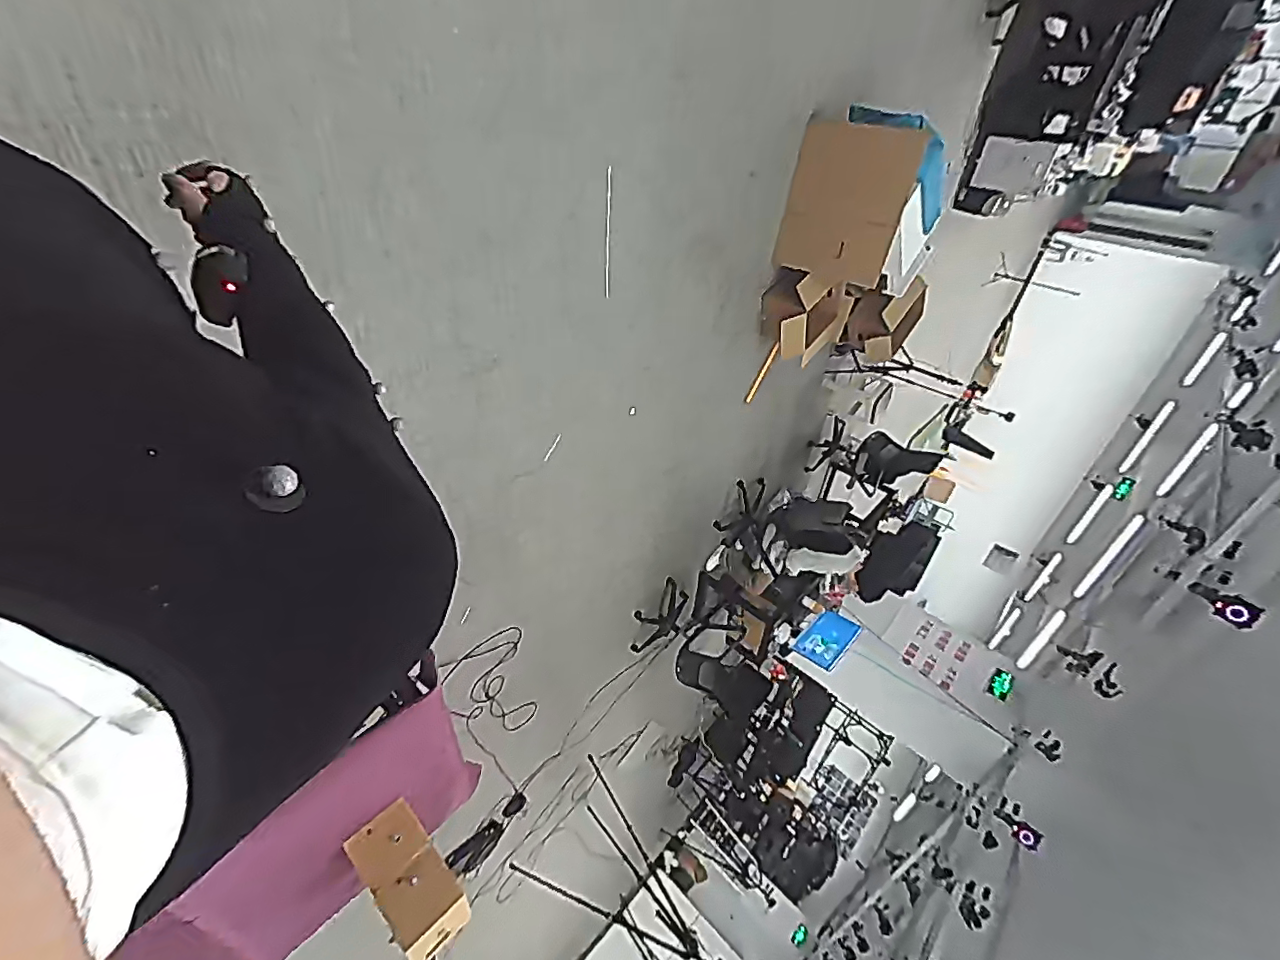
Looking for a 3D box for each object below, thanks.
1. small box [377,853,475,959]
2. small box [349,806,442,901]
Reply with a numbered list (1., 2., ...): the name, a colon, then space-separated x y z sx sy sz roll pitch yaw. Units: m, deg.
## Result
1. small box: -0.550 1.120 1.399 0.168 0.176 0.179 -30 138 -40
2. small box: -0.667 1.043 1.486 0.168 0.176 0.179 -33 141 -36
